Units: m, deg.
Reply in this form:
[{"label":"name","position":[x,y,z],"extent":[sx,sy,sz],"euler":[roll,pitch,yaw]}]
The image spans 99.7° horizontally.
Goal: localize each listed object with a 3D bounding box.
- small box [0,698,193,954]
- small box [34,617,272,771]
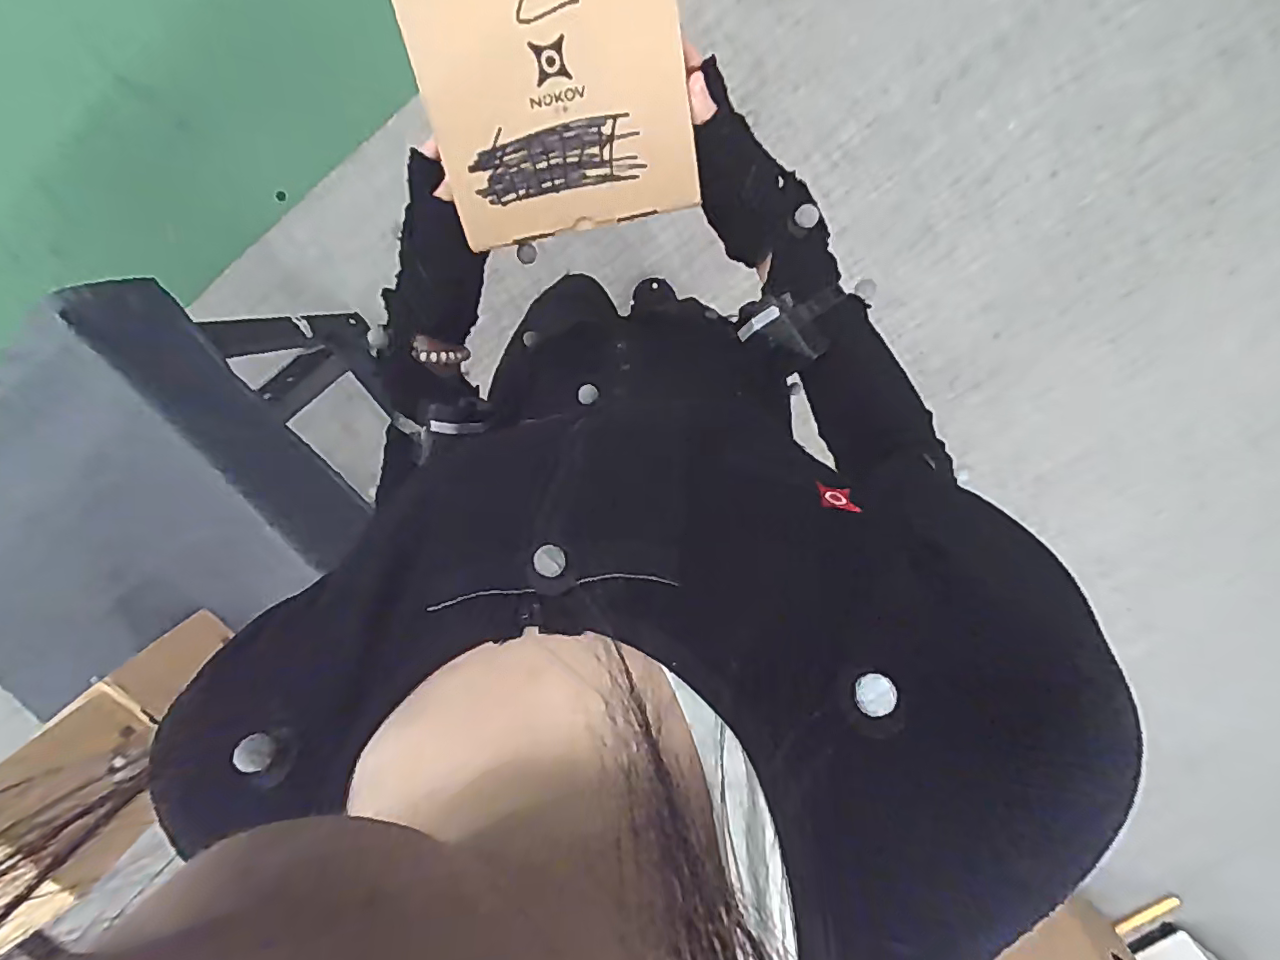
[{"label":"small box","position":[-0.713,0.410,0.658],"extent":[0.179,0.176,0.168],"euler":[-36,104,13]},{"label":"small box","position":[-0.701,0.339,0.807],"extent":[0.179,0.176,0.168],"euler":[-34,104,14]}]
